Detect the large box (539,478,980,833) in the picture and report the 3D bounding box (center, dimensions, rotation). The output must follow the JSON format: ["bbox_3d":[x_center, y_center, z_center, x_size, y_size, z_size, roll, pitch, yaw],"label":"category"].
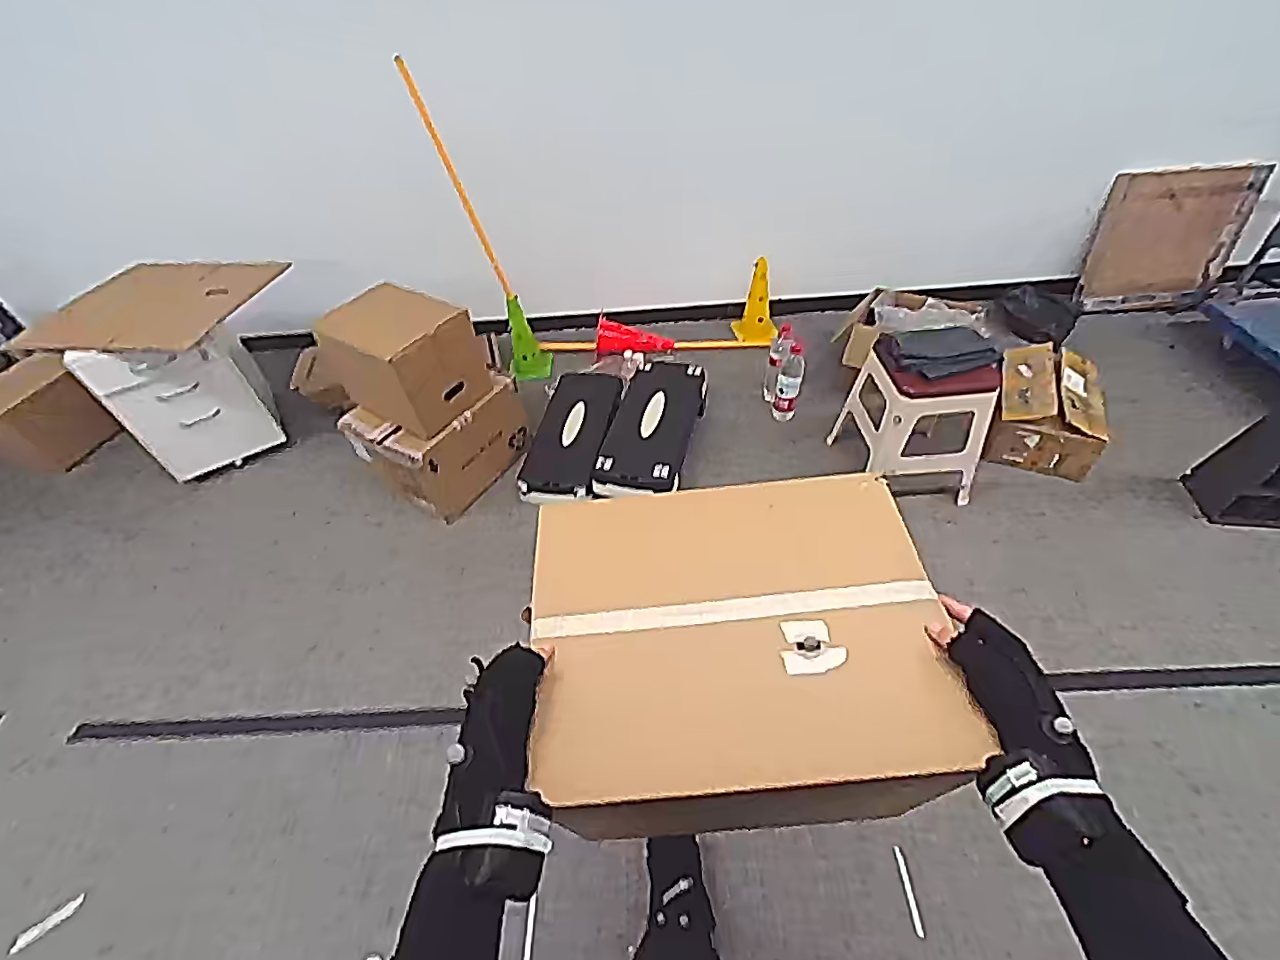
[{"bbox_3d":[0.103,0.230,0.684,0.408,0.320,0.320,-6,52,1],"label":"large box"}]
